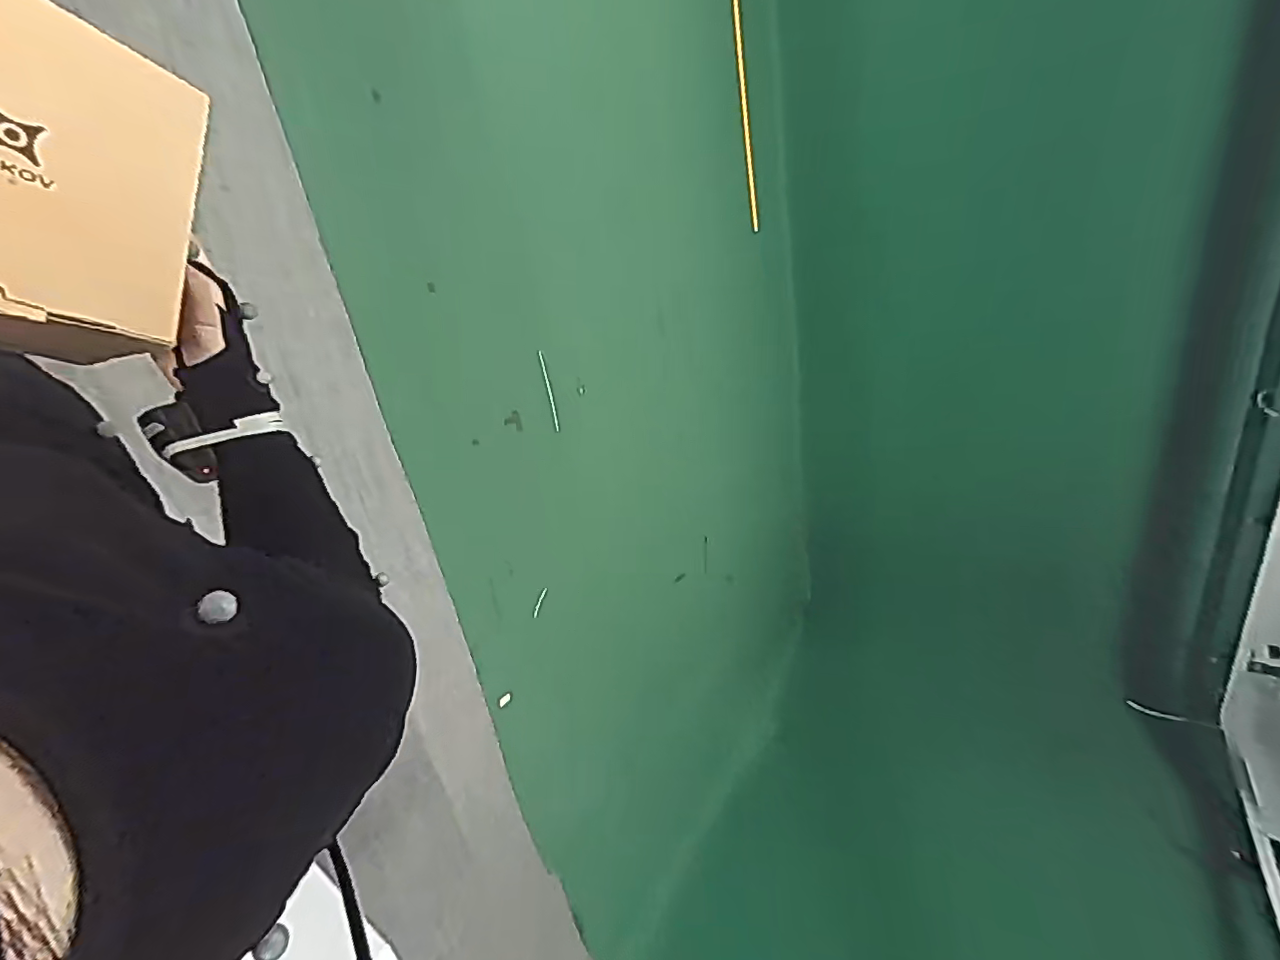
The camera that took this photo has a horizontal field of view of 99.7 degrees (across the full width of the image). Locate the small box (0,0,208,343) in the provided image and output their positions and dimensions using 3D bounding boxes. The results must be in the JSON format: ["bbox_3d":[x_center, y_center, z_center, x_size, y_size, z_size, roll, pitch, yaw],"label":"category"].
[{"bbox_3d":[-0.406,-0.194,0.327,0.168,0.176,0.179,10,85,-61],"label":"small box"}]
